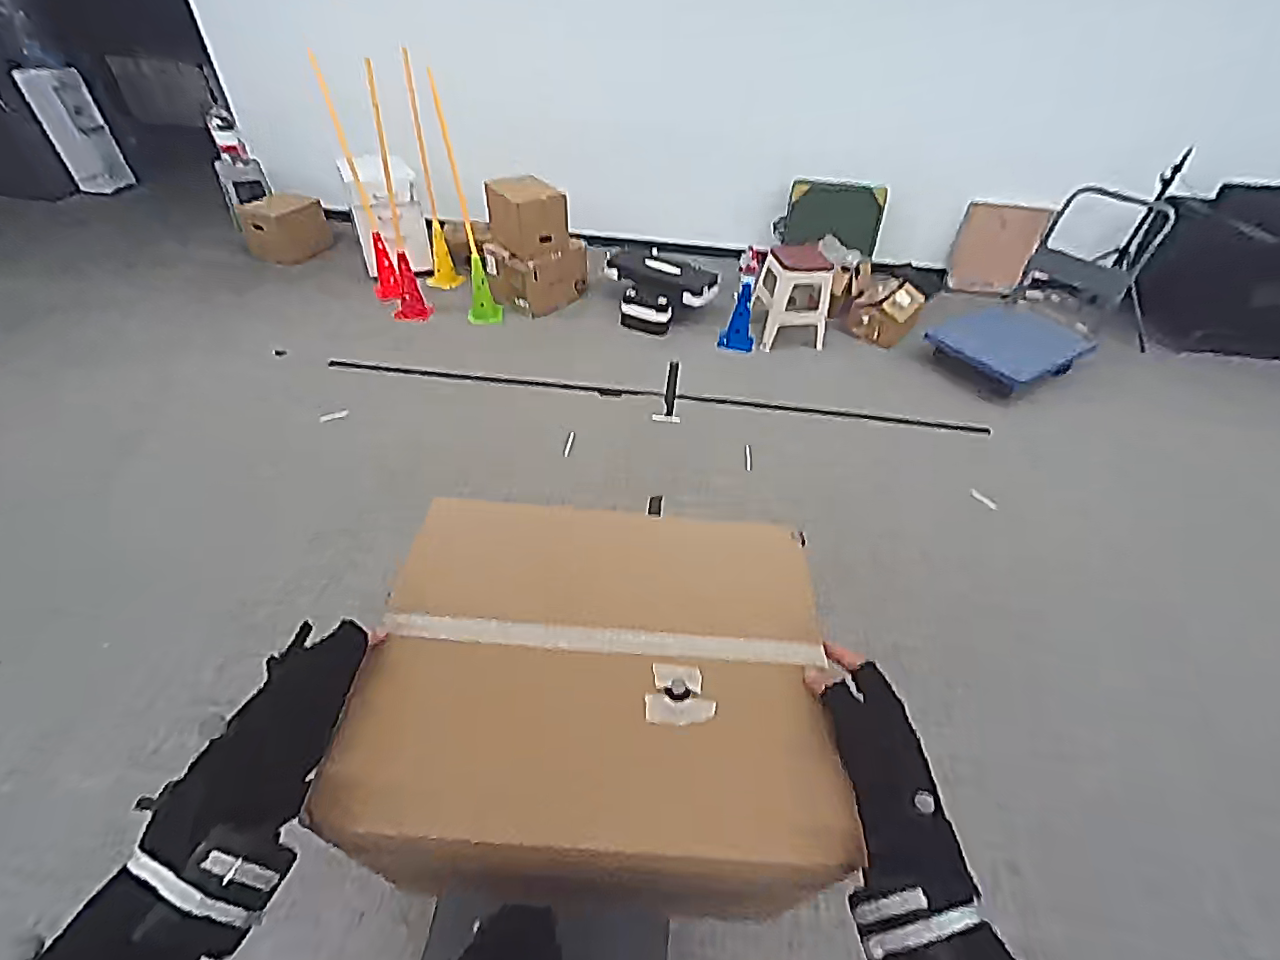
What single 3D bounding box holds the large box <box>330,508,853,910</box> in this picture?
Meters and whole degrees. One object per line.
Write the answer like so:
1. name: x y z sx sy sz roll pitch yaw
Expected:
1. large box: -0.041 0.260 0.612 0.408 0.320 0.320 6 45 -1
